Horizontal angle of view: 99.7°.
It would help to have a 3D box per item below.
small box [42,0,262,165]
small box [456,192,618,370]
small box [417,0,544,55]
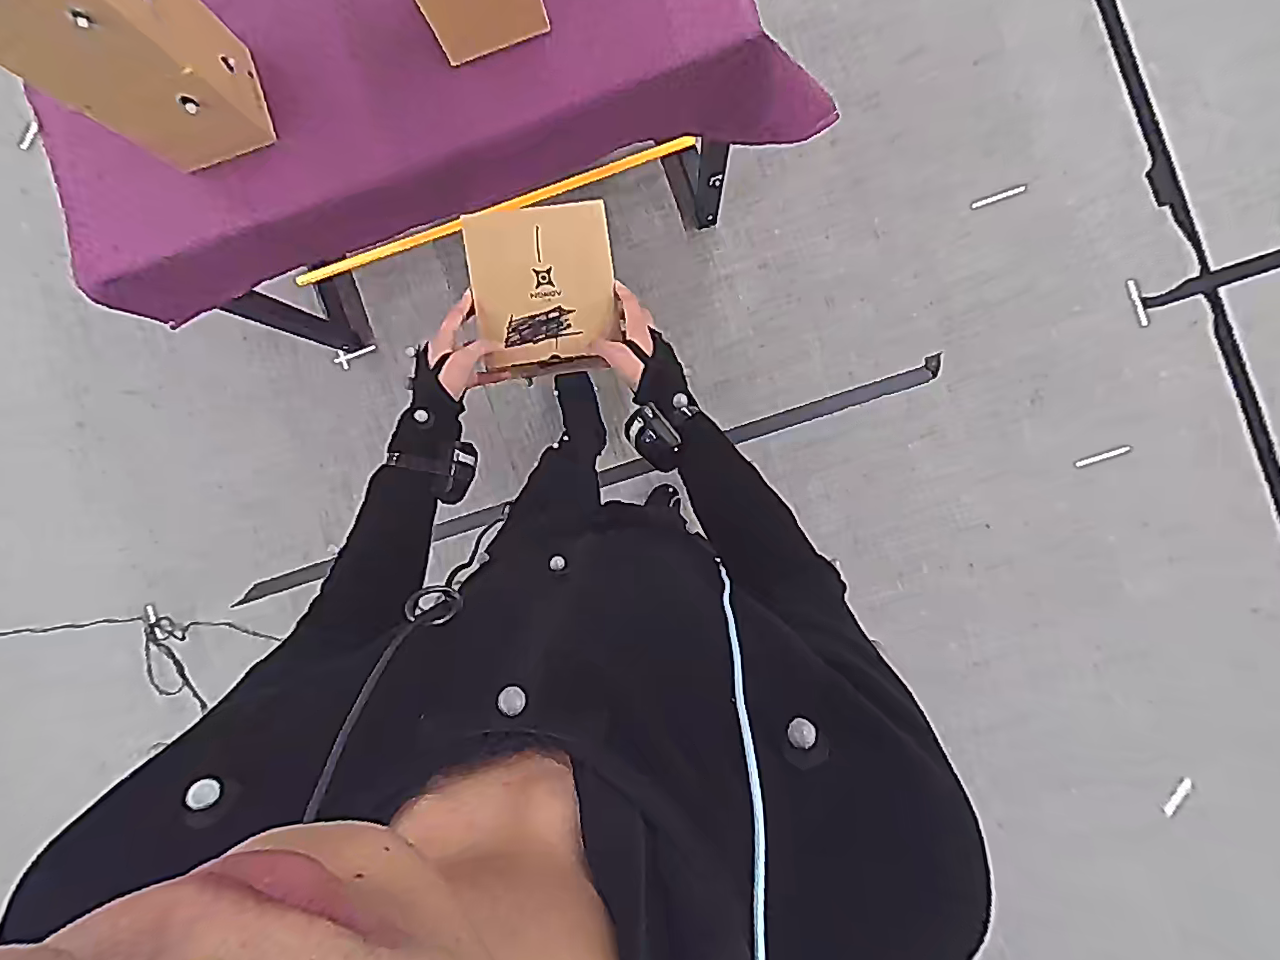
[{"bbox_3d":[-0.722,-0.624,0.825,0.179,0.176,0.168,-16,91,3],"label":"small box"},{"bbox_3d":[-0.120,-0.239,0.694,0.168,0.176,0.179,-8,97,-4],"label":"small box"},{"bbox_3d":[-0.261,-0.783,0.798,0.179,0.176,0.168,-17,91,3],"label":"small box"}]
